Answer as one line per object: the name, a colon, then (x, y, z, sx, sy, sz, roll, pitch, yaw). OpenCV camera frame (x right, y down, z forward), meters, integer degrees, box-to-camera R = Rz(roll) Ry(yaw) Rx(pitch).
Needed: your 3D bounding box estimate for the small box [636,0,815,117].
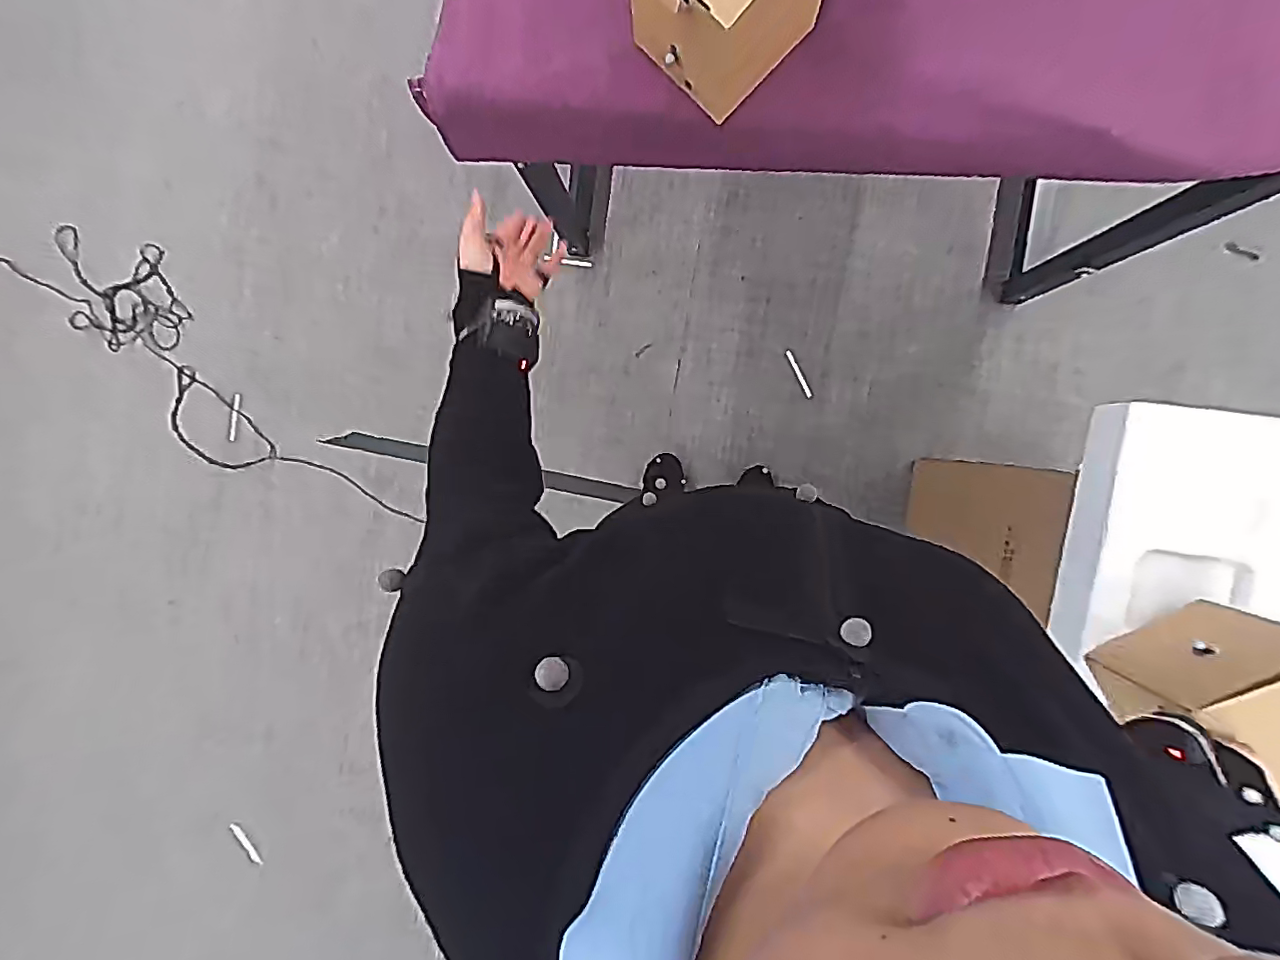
small box: (0.104, -0.596, 0.644, 0.179, 0.176, 0.168, -44, 88, 5)
